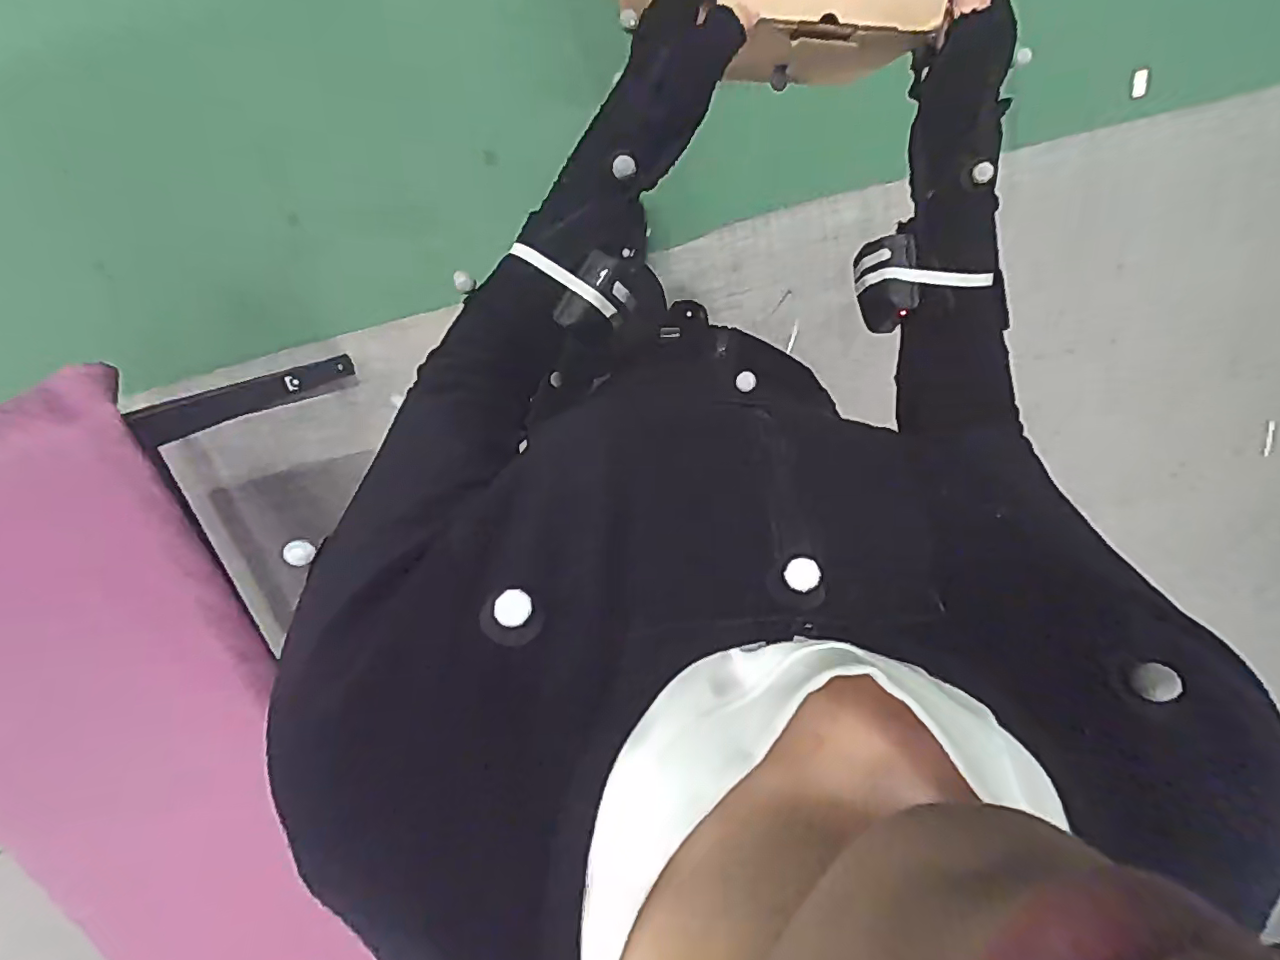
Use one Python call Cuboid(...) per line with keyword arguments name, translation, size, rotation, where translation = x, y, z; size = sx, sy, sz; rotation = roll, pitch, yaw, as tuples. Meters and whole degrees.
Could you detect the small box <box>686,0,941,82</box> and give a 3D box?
Cuboid(name="small box", translation=(0.131, -0.438, 0.418), size=(0.168, 0.176, 0.179), rotation=(1, 116, -3))
